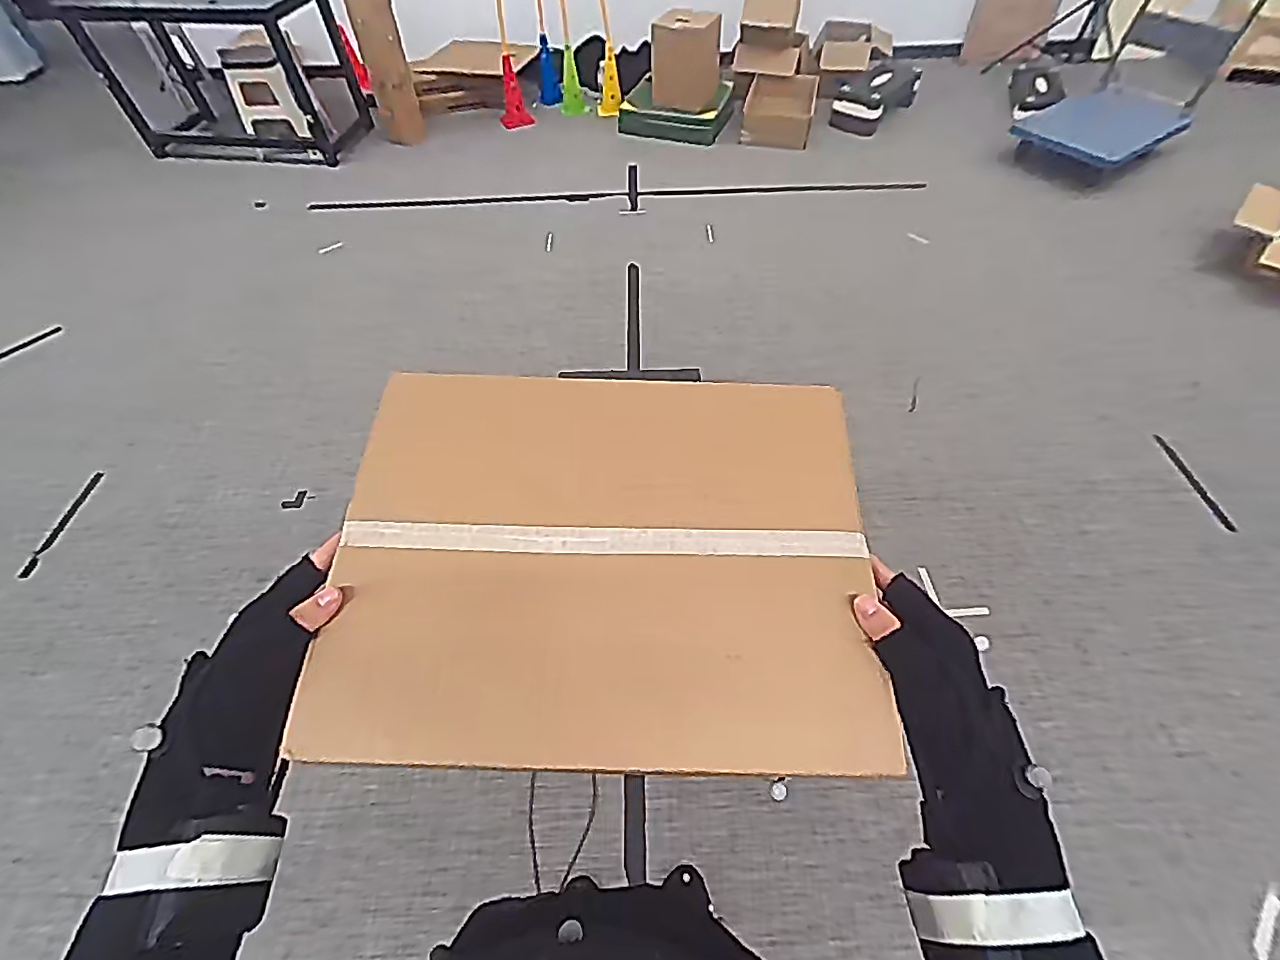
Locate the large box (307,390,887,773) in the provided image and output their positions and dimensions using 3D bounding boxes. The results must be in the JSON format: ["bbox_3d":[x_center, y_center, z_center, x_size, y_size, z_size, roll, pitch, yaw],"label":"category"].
[{"bbox_3d":[-0.027,0.122,0.565,0.408,0.320,0.320,1,62,0],"label":"large box"}]
